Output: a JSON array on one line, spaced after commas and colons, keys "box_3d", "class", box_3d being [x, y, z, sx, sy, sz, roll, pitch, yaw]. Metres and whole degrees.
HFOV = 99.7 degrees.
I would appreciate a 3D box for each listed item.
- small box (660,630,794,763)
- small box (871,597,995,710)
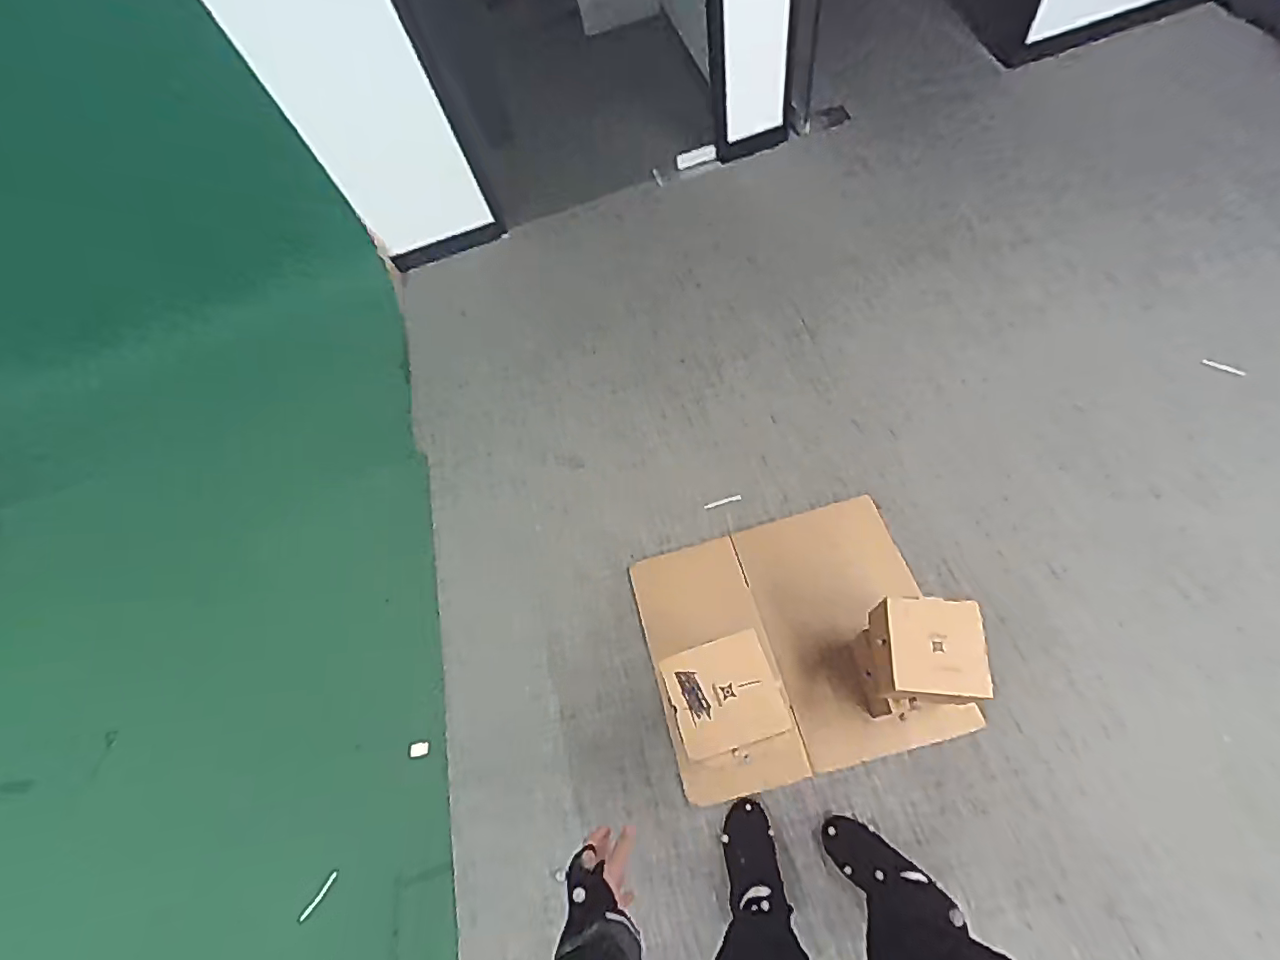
[{"box_3d": [0.150, 0.381, 0.939, 0.179, 0.176, 0.168, -19, 62, 1], "class": "small box"}, {"box_3d": [0.562, 0.344, 1.064, 0.168, 0.176, 0.179, 2, 64, 11], "class": "small box"}]
